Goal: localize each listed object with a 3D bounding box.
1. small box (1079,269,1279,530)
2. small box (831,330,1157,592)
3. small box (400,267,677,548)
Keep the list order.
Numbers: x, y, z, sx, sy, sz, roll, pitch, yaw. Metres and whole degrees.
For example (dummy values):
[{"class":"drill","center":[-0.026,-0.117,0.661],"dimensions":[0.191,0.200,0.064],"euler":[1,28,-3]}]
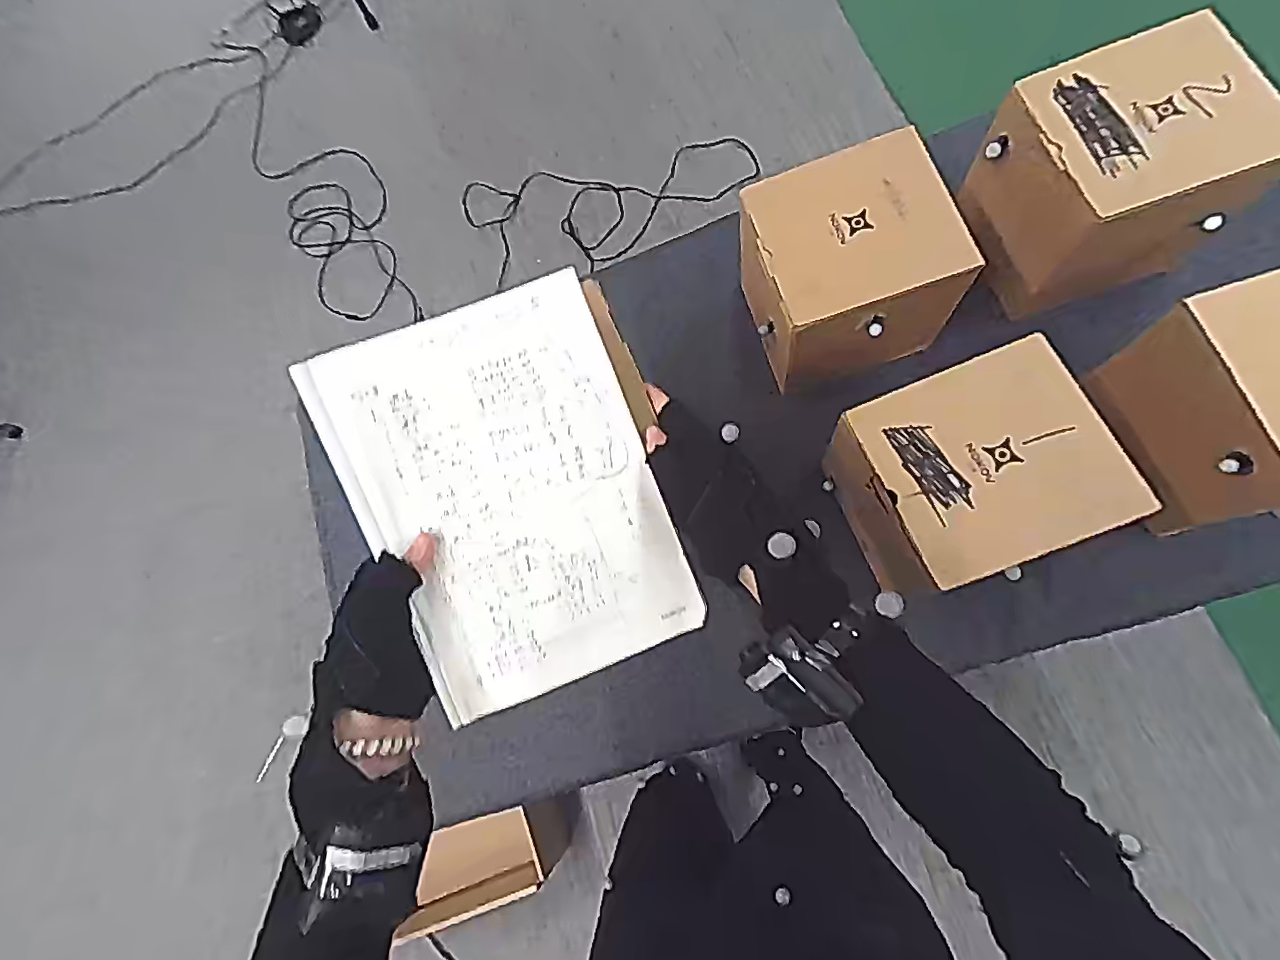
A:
[{"class":"small box","center":[0.547,-0.069,0.477],"dimensions":[0.168,0.176,0.179],"euler":[-16,73,7]},{"class":"small box","center":[0.296,-0.002,0.508],"dimensions":[0.179,0.176,0.168],"euler":[-22,73,4]},{"class":"small box","center":[-0.075,-0.047,0.481],"dimensions":[0.179,0.176,0.168],"euler":[-21,78,-2]}]
